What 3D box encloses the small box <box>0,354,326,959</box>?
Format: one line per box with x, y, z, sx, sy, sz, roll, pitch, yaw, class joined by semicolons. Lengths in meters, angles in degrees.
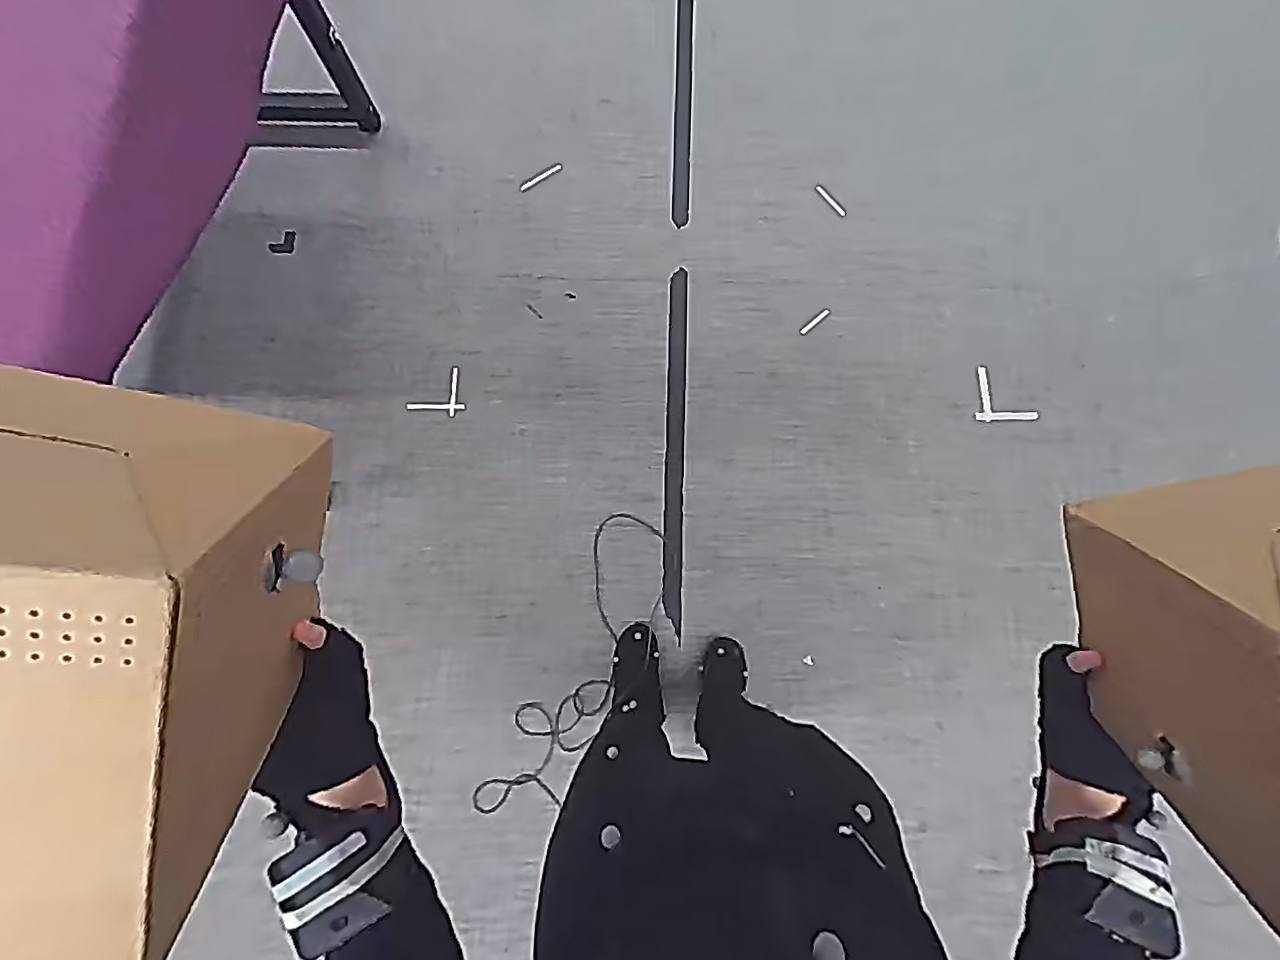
-0.239;0.050;0.204;0.168;0.179;0.176;12;103;-19;small box

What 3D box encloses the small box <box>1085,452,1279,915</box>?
0.353;0.086;0.260;0.168;0.179;0.176;-12;101;18;small box
